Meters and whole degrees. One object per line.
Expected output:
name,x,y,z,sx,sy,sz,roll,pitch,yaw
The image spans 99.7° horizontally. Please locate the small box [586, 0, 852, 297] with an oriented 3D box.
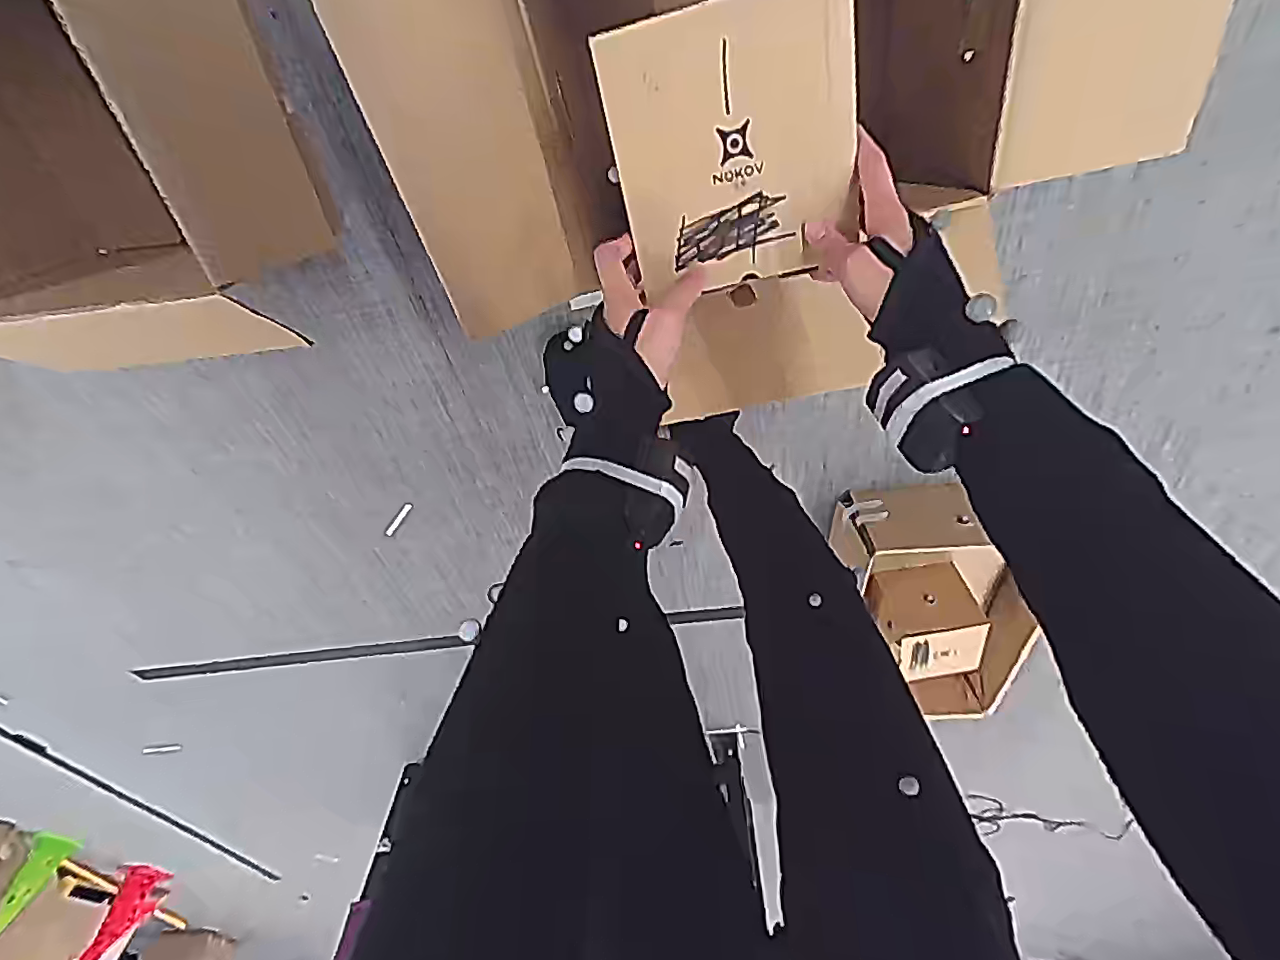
small box,0.067,-0.272,0.442,0.168,0.176,0.179,-10,120,10
